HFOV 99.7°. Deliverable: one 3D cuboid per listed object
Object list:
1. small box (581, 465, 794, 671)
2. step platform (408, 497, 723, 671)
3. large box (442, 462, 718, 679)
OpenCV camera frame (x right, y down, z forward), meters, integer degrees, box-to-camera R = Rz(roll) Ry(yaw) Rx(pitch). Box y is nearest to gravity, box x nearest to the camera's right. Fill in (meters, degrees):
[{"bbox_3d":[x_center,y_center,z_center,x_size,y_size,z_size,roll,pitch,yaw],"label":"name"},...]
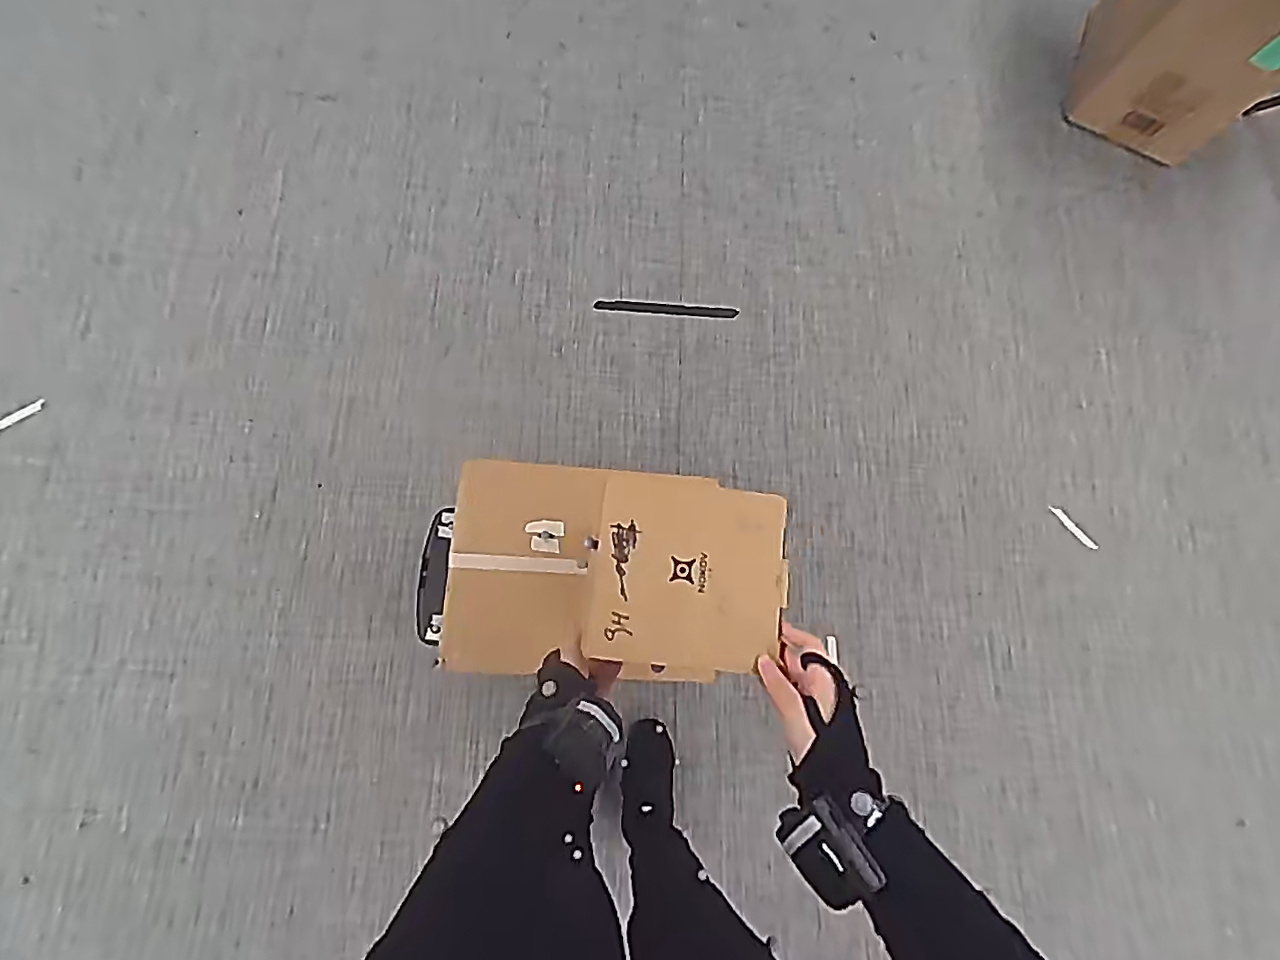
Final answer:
[{"bbox_3d":[0.039,0.094,0.559,0.179,0.176,0.168,8,75,-7],"label":"small box"},{"bbox_3d":[-0.131,0.230,1.178,0.684,0.204,0.286,9,77,-3],"label":"step platform"},{"bbox_3d":[-0.089,0.163,0.953,0.408,0.320,0.320,4,76,-4],"label":"large box"}]
